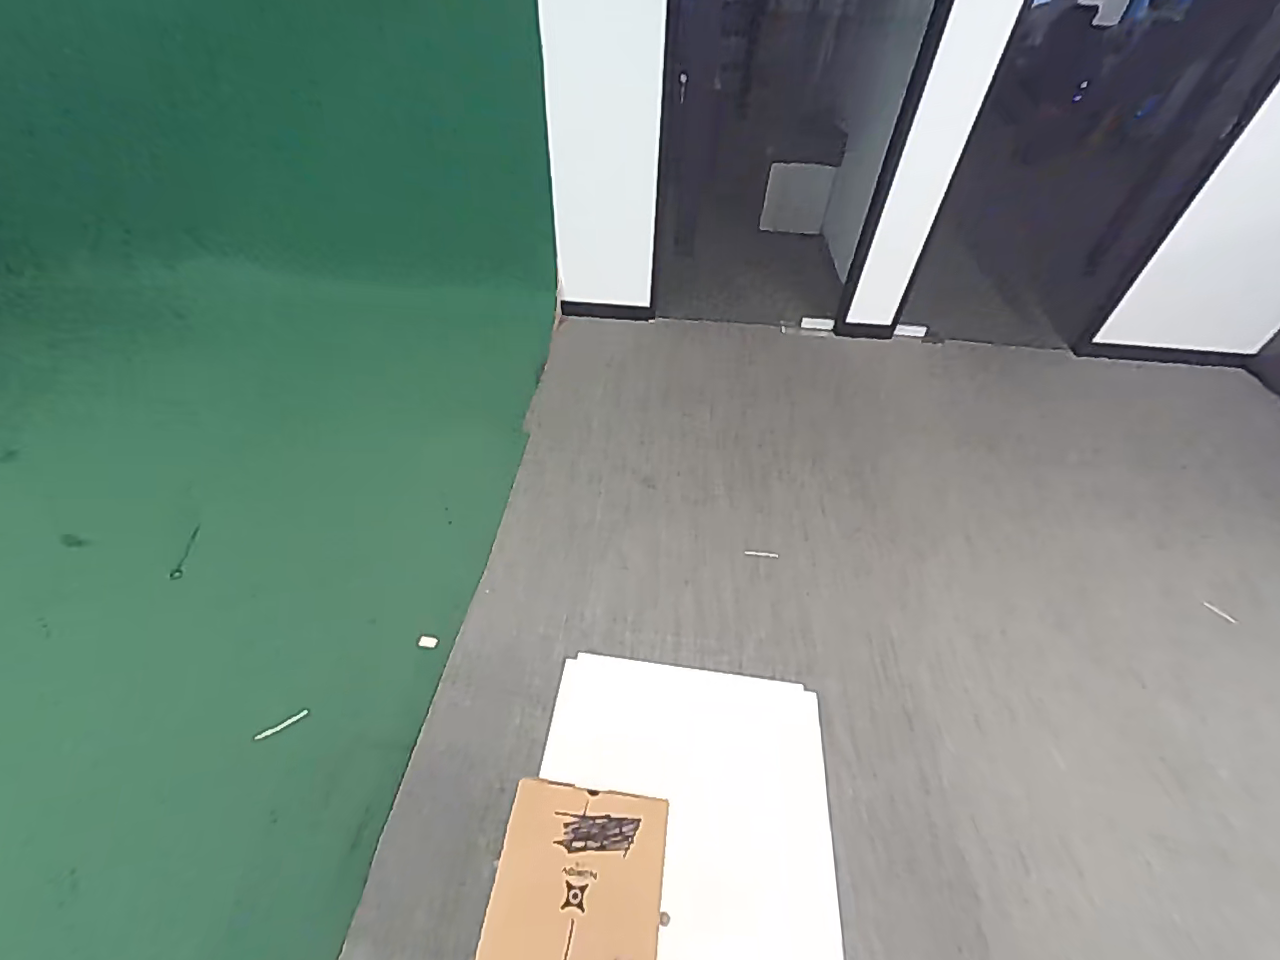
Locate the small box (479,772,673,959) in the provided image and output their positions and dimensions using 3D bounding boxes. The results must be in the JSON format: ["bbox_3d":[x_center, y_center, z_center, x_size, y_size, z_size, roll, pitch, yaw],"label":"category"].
[{"bbox_3d":[-0.060,0.449,0.590,0.168,0.176,0.179,7,47,3],"label":"small box"}]
